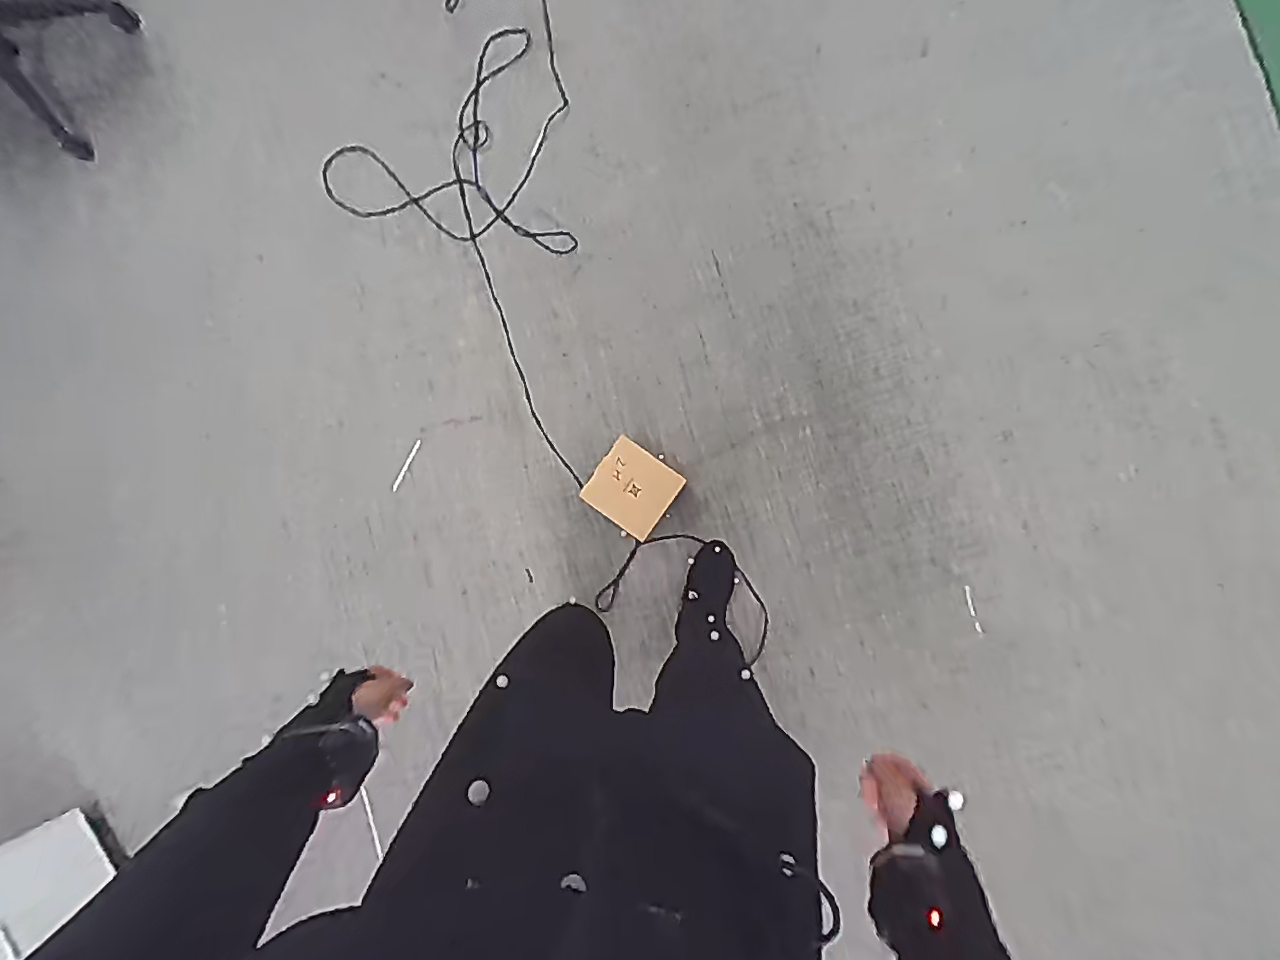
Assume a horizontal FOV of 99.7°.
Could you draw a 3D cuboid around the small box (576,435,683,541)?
[{"bbox_3d":[-0.018,0.017,1.232,0.179,0.176,0.168,35,89,4],"label":"small box"}]
